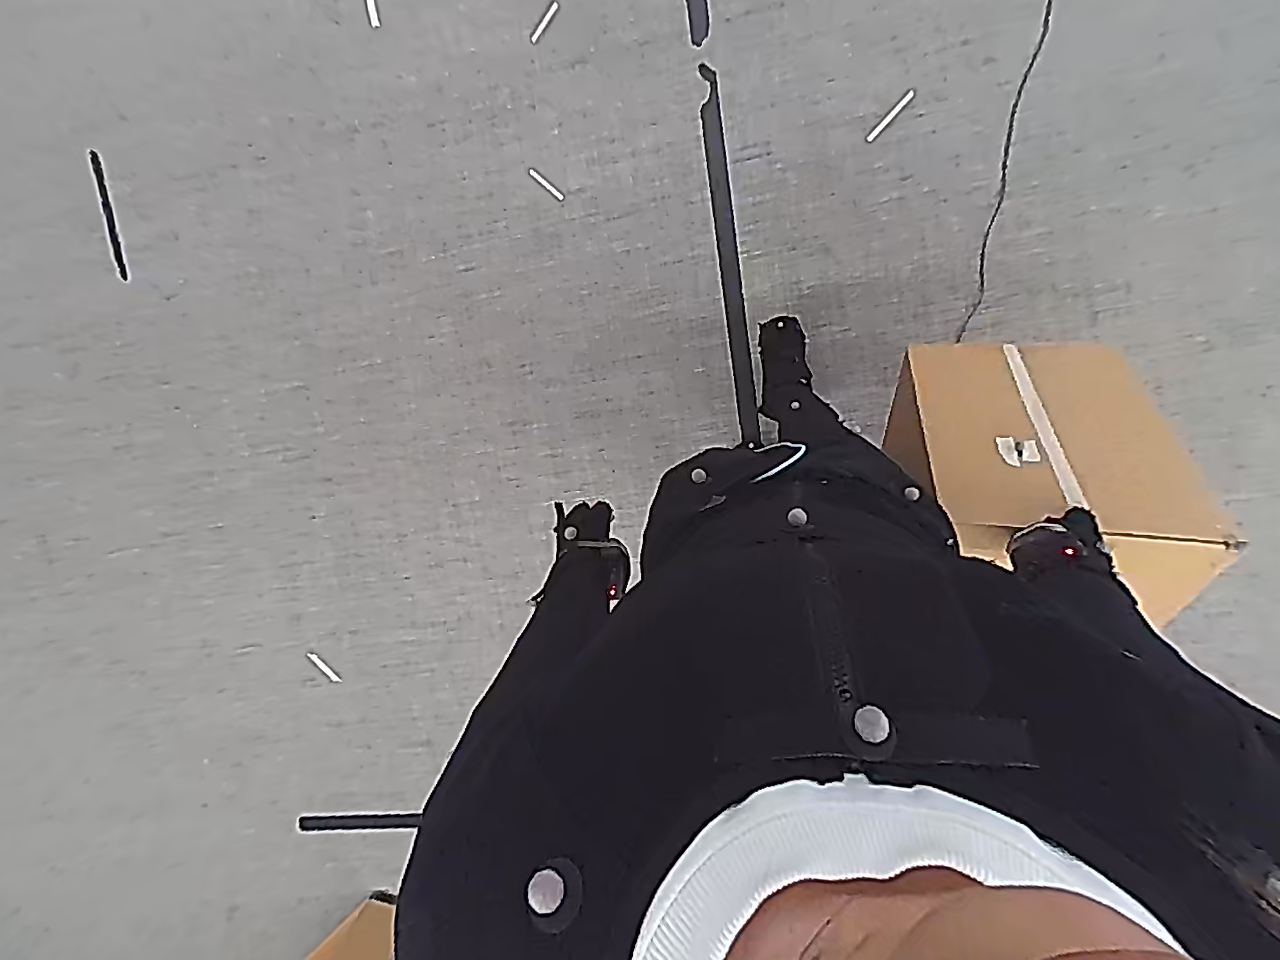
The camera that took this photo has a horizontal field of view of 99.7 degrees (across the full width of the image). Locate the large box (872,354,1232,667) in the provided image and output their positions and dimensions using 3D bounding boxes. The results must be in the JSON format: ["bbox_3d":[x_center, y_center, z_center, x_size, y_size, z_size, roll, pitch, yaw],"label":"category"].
[{"bbox_3d":[0.588,0.036,0.890,0.320,0.408,0.320,3,137,14],"label":"large box"}]
